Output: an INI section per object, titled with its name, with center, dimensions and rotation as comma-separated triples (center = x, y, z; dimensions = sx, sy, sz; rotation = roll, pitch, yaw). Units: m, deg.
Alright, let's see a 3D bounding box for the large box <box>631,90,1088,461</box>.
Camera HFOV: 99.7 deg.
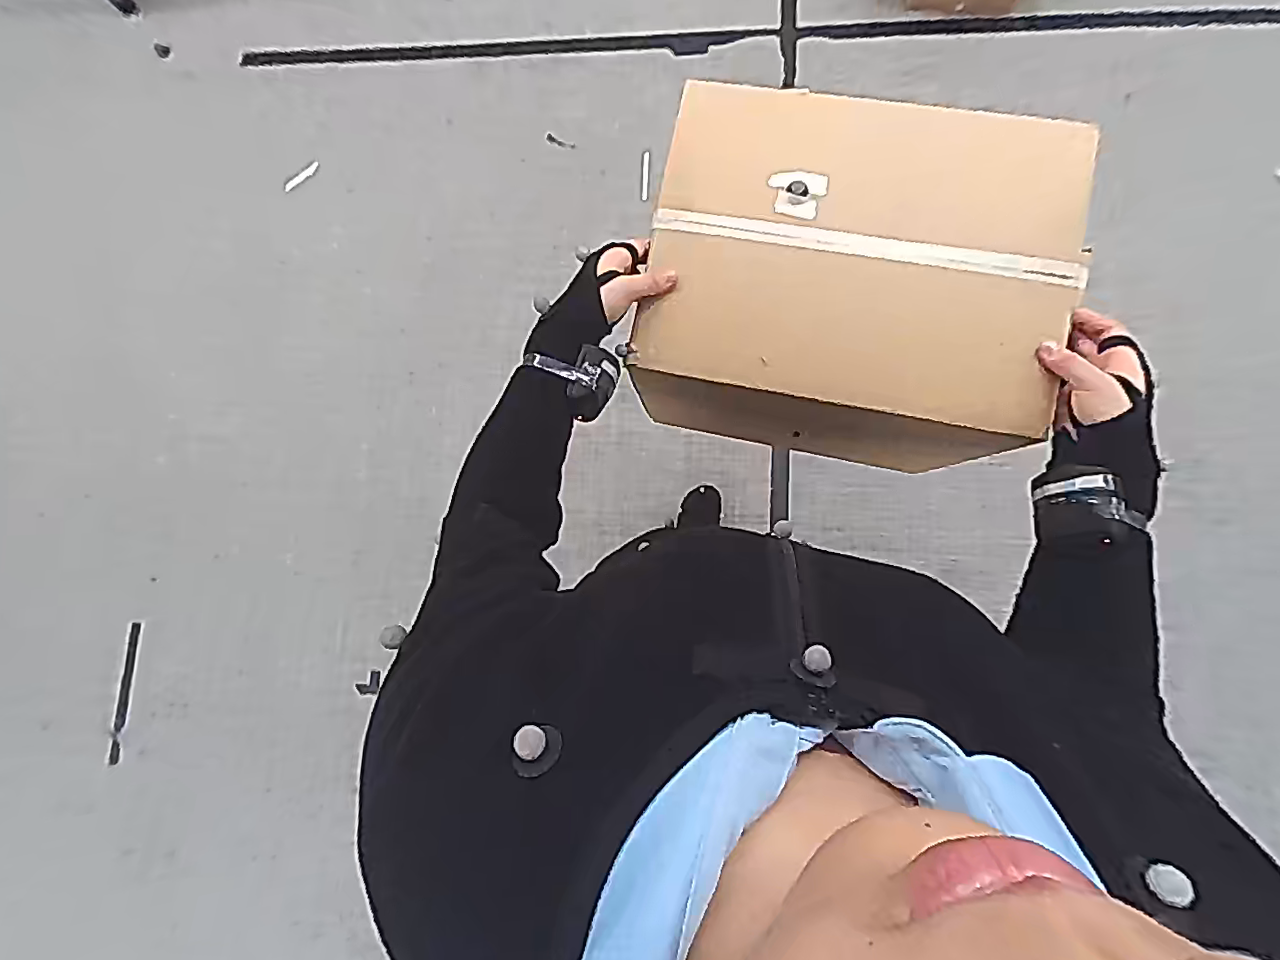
[large box]
center = 0.233, -0.221, 0.688
dimensions = 0.408, 0.320, 0.320
rotation = 12, 86, 9
